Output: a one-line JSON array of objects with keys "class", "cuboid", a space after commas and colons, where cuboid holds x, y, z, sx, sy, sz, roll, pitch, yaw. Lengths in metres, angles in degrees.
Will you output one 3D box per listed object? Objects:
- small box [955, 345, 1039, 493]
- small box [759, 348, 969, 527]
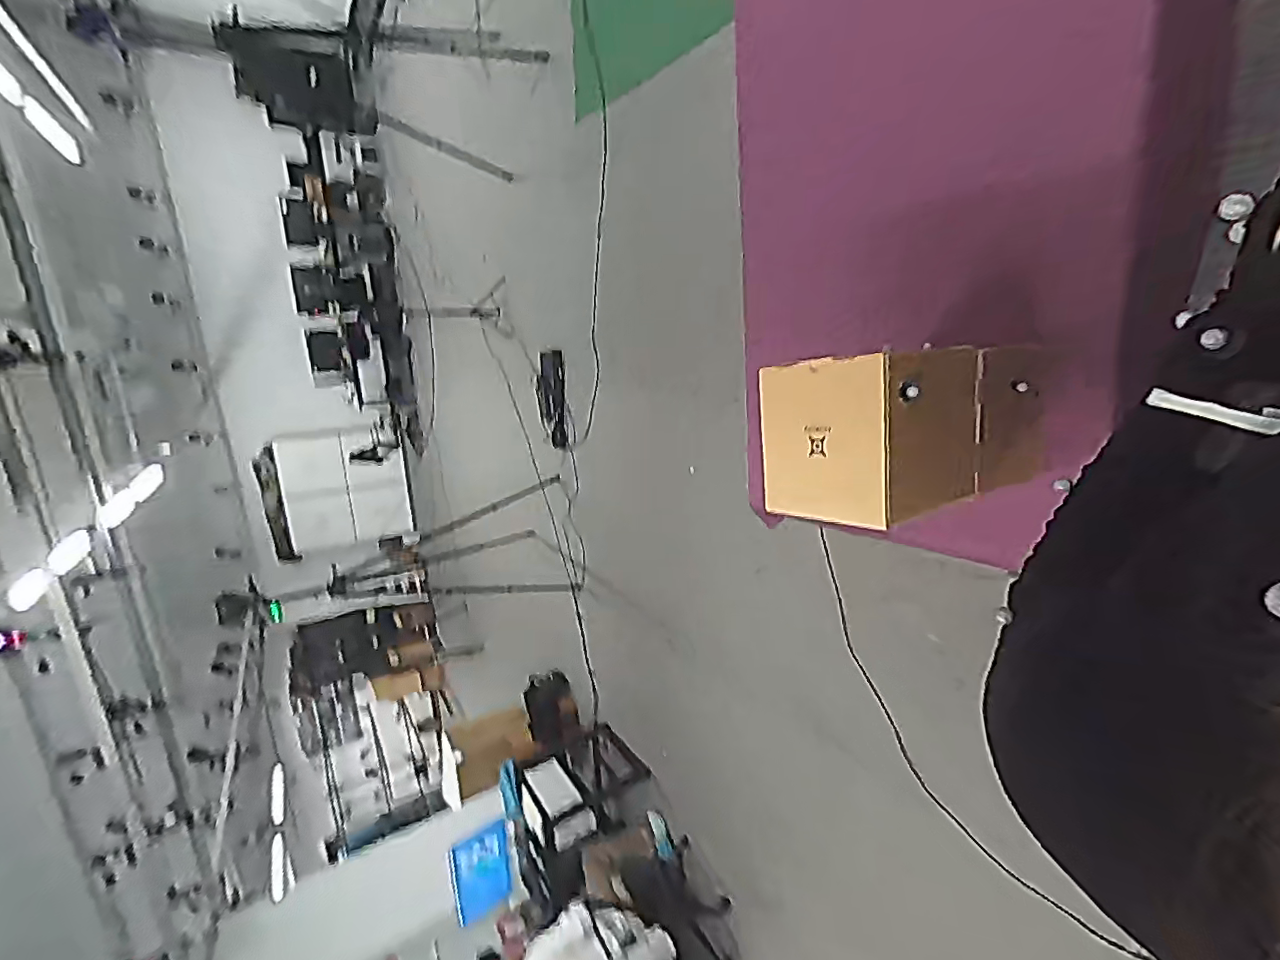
[{"class": "small box", "cuboid": [0.397, -0.087, 0.718, 0.179, 0.176, 0.168, 11, 108, 57]}, {"class": "small box", "cuboid": [0.262, -0.056, 0.634, 0.168, 0.176, 0.179, 7, 104, 57]}]
